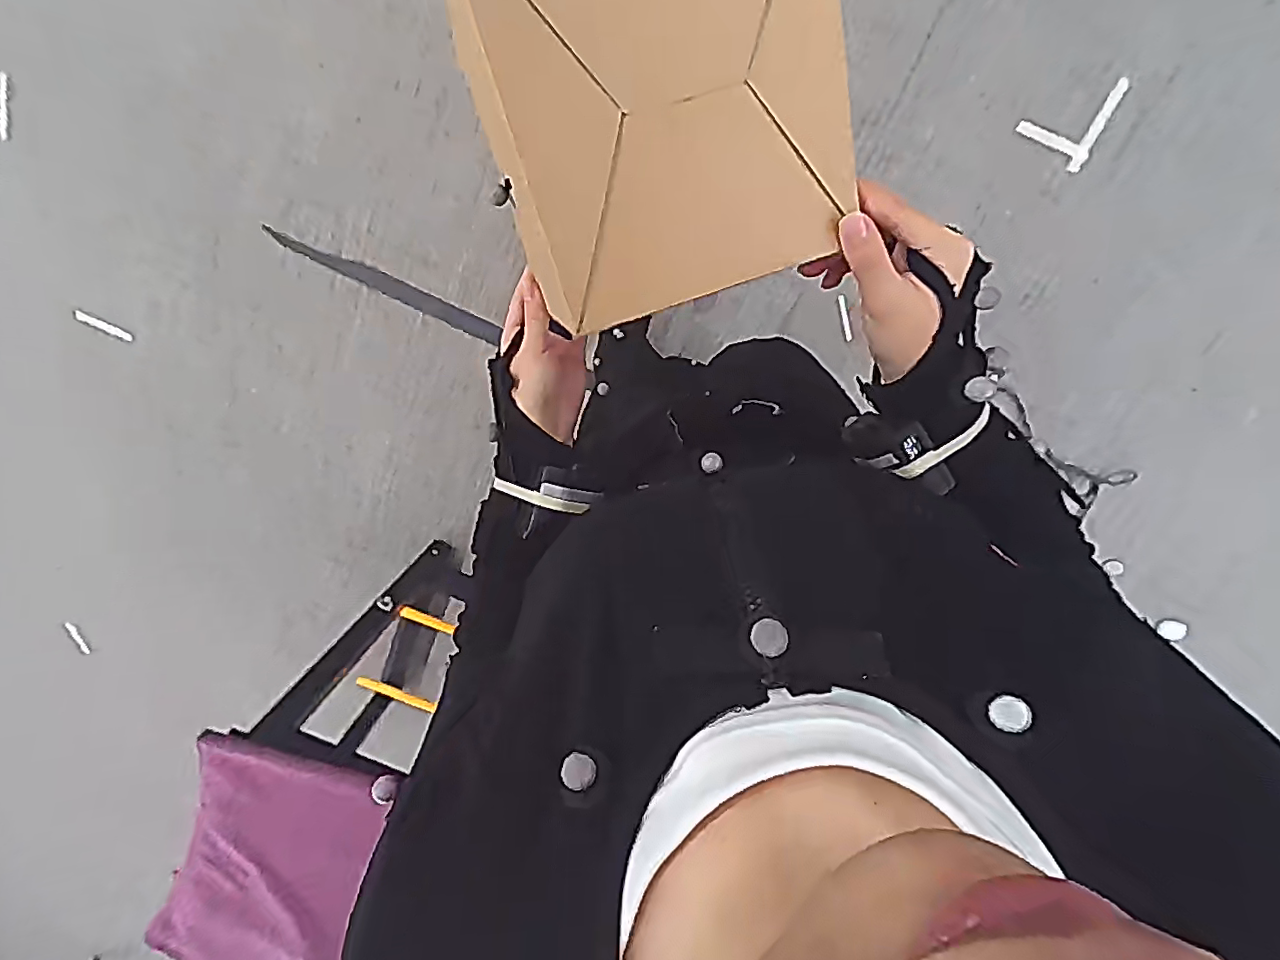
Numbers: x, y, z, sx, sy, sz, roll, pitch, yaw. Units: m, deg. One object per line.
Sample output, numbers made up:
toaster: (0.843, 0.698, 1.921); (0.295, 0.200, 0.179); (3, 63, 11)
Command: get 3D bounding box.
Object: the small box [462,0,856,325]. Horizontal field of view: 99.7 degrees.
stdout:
small box: (0.005, -0.206, 0.321); (0.168, 0.176, 0.179); (-19, 115, -7)
